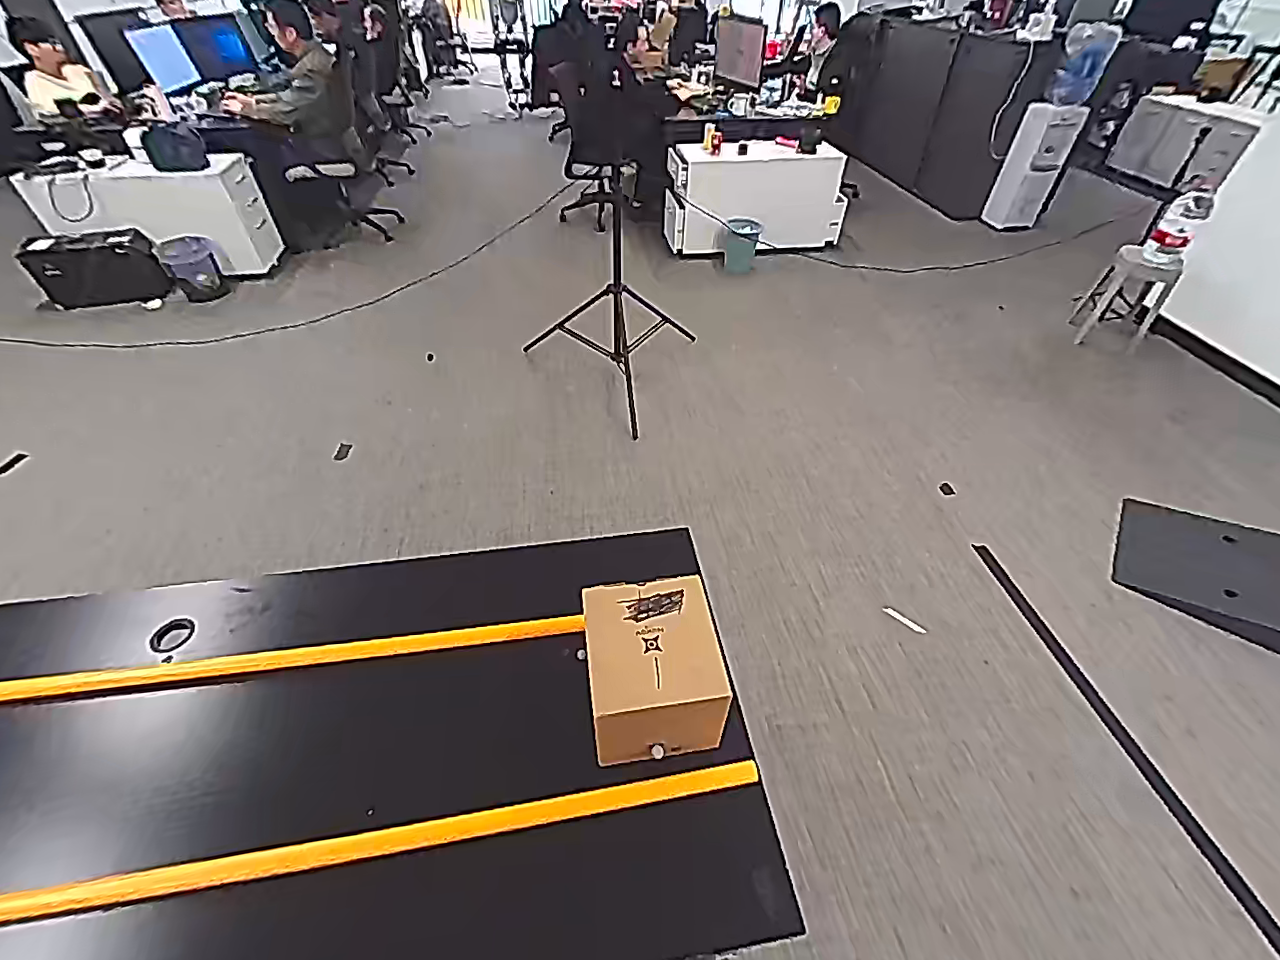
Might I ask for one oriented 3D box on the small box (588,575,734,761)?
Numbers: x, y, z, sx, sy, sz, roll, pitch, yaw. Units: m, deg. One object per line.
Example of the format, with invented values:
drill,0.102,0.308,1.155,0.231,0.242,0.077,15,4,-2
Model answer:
small box,0.018,0.256,0.741,0.168,0.176,0.179,-6,45,-6
